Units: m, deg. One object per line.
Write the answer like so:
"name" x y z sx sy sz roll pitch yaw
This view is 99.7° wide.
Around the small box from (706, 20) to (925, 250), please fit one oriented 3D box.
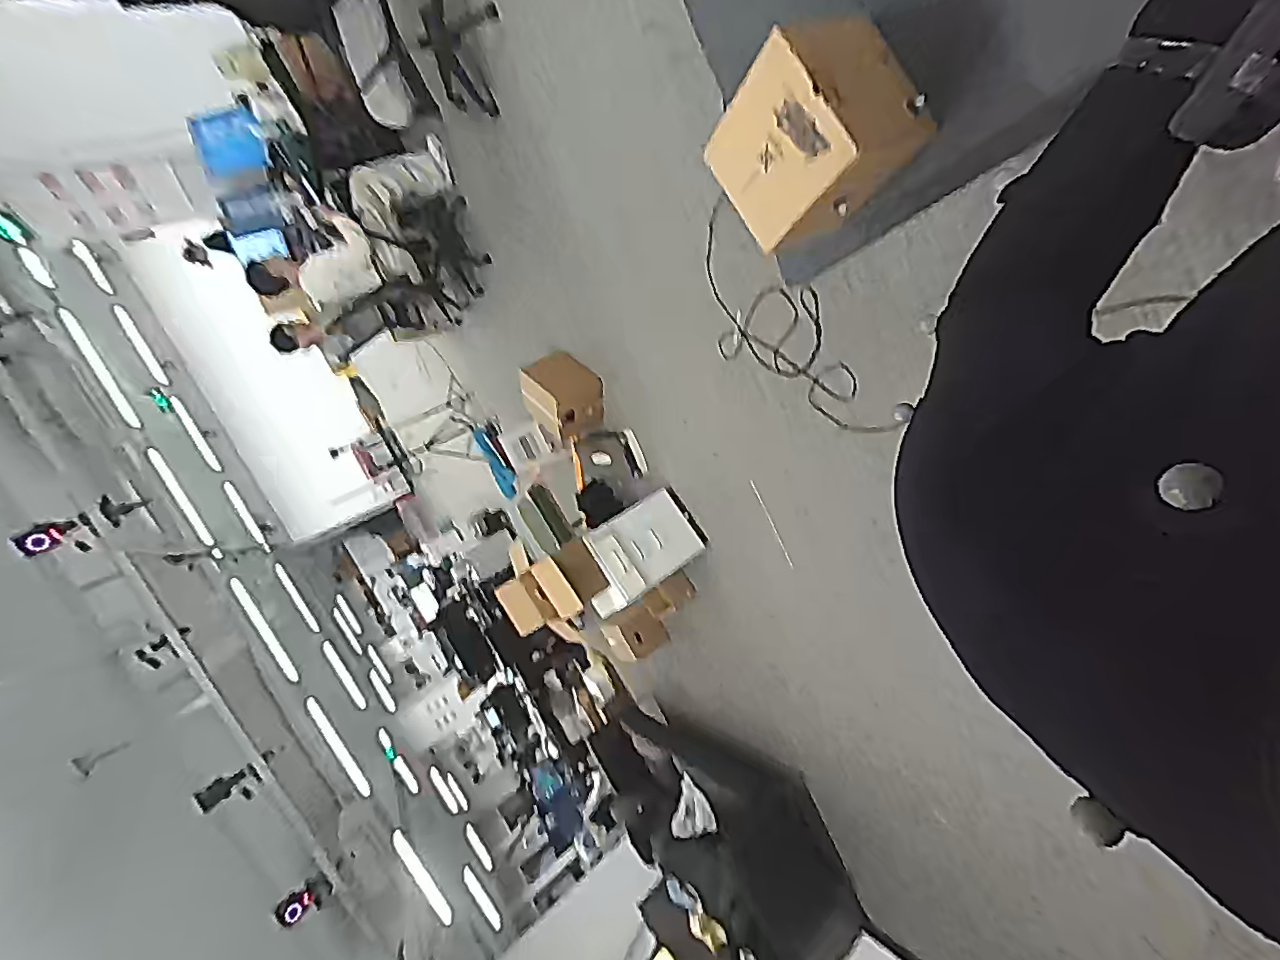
"small box" 0.224 -0.433 0.685 0.168 0.176 0.179 58 154 1
